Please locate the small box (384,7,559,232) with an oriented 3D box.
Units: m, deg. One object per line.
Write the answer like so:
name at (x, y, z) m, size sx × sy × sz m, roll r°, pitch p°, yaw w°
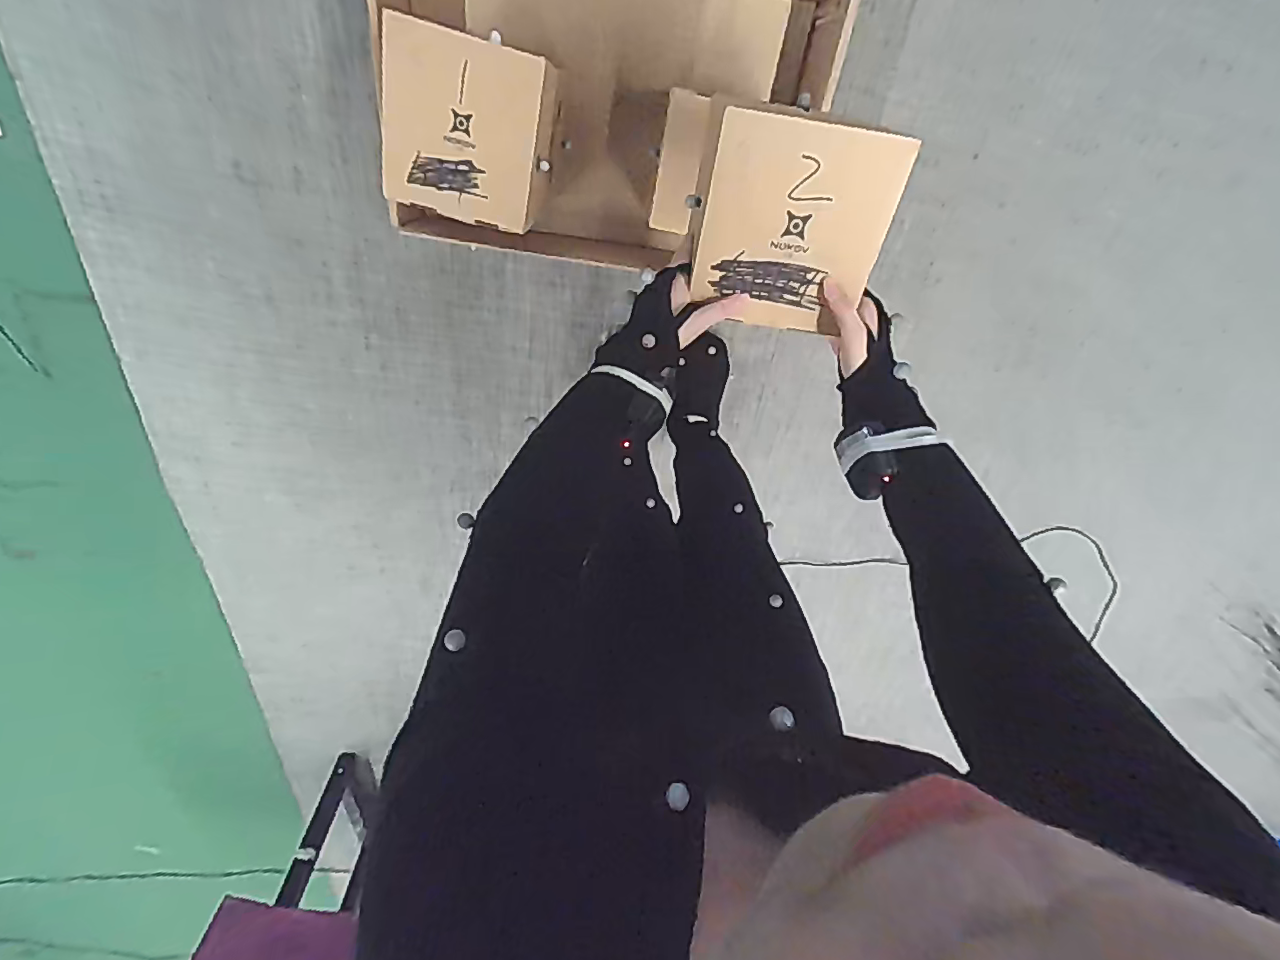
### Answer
small box at (-0.198, -0.428, 0.661) m, size 0.168 × 0.176 × 0.179 m, roll 11°, pitch 122°, yaw -10°
